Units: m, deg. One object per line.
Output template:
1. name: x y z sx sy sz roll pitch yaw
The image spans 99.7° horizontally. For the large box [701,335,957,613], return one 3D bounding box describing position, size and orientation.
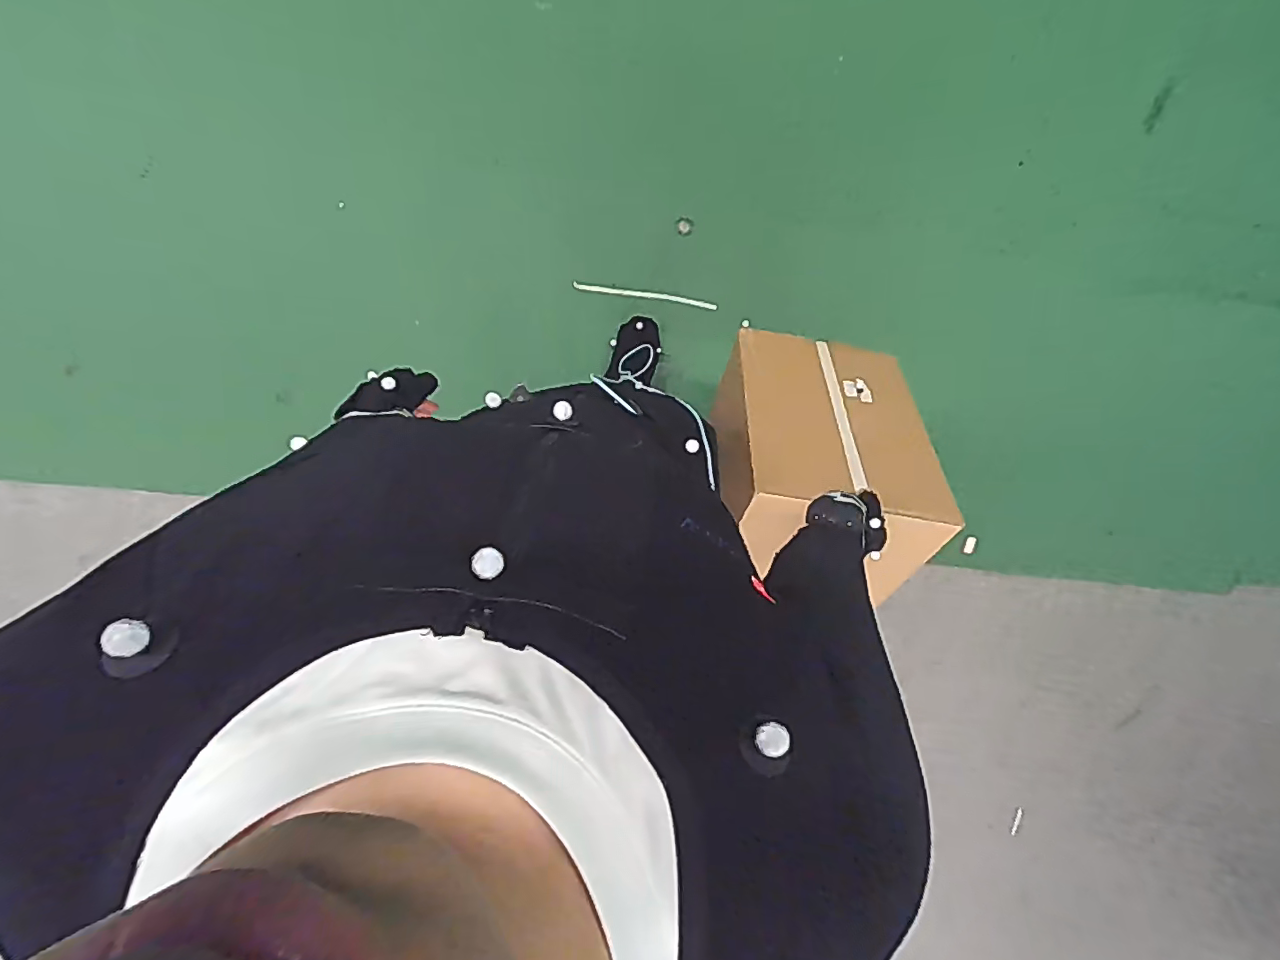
1. large box: 0.302 -0.009 1.015 0.320 0.408 0.320 9 138 -5
